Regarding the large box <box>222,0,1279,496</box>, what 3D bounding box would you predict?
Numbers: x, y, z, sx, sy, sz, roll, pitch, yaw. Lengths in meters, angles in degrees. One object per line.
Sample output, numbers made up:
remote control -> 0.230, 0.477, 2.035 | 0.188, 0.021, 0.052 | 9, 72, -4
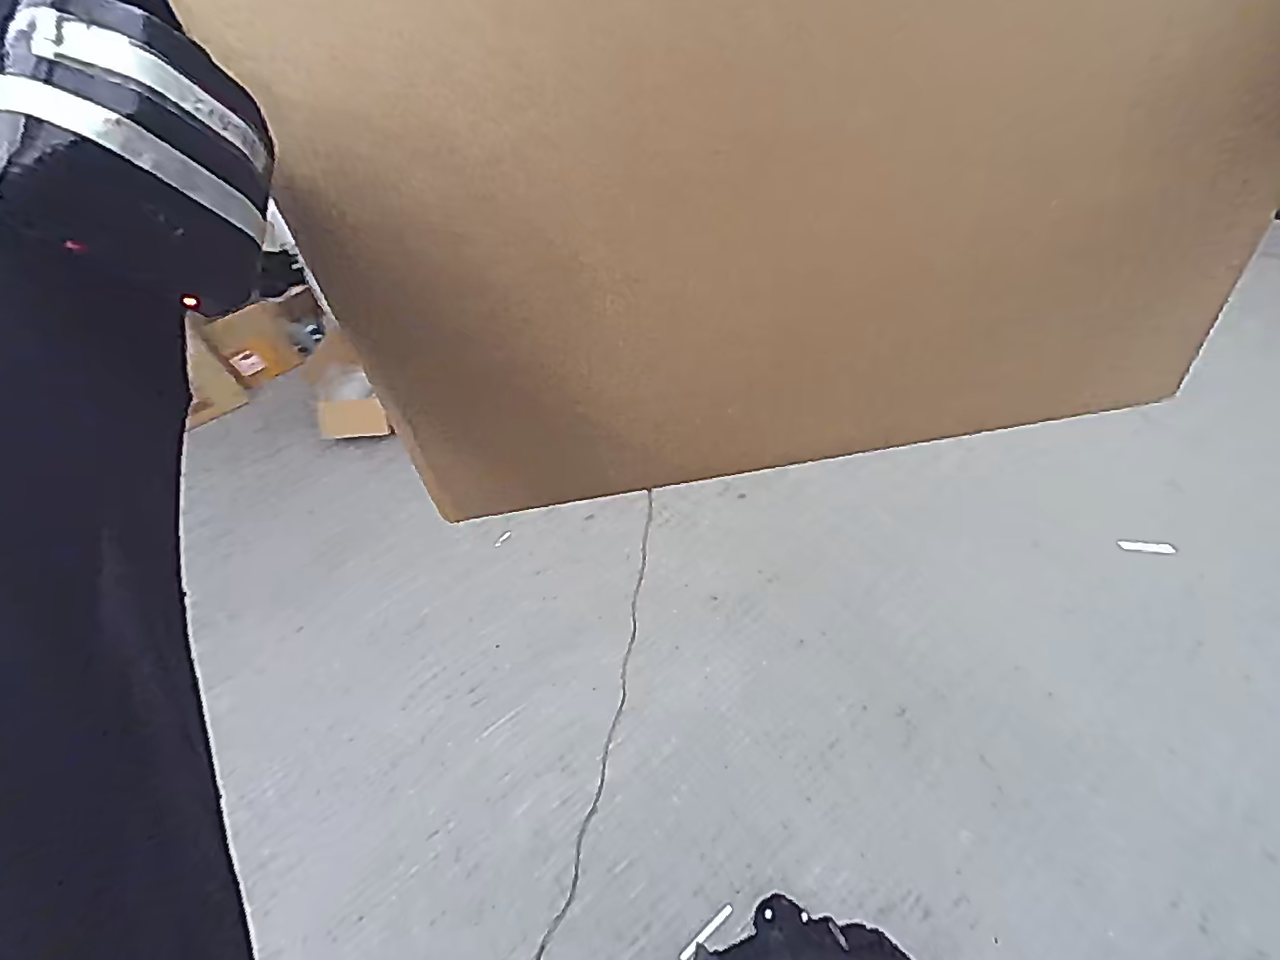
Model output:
large box -> 0.055, -0.225, 0.322 | 0.408, 0.320, 0.320 | -9, 39, 1
